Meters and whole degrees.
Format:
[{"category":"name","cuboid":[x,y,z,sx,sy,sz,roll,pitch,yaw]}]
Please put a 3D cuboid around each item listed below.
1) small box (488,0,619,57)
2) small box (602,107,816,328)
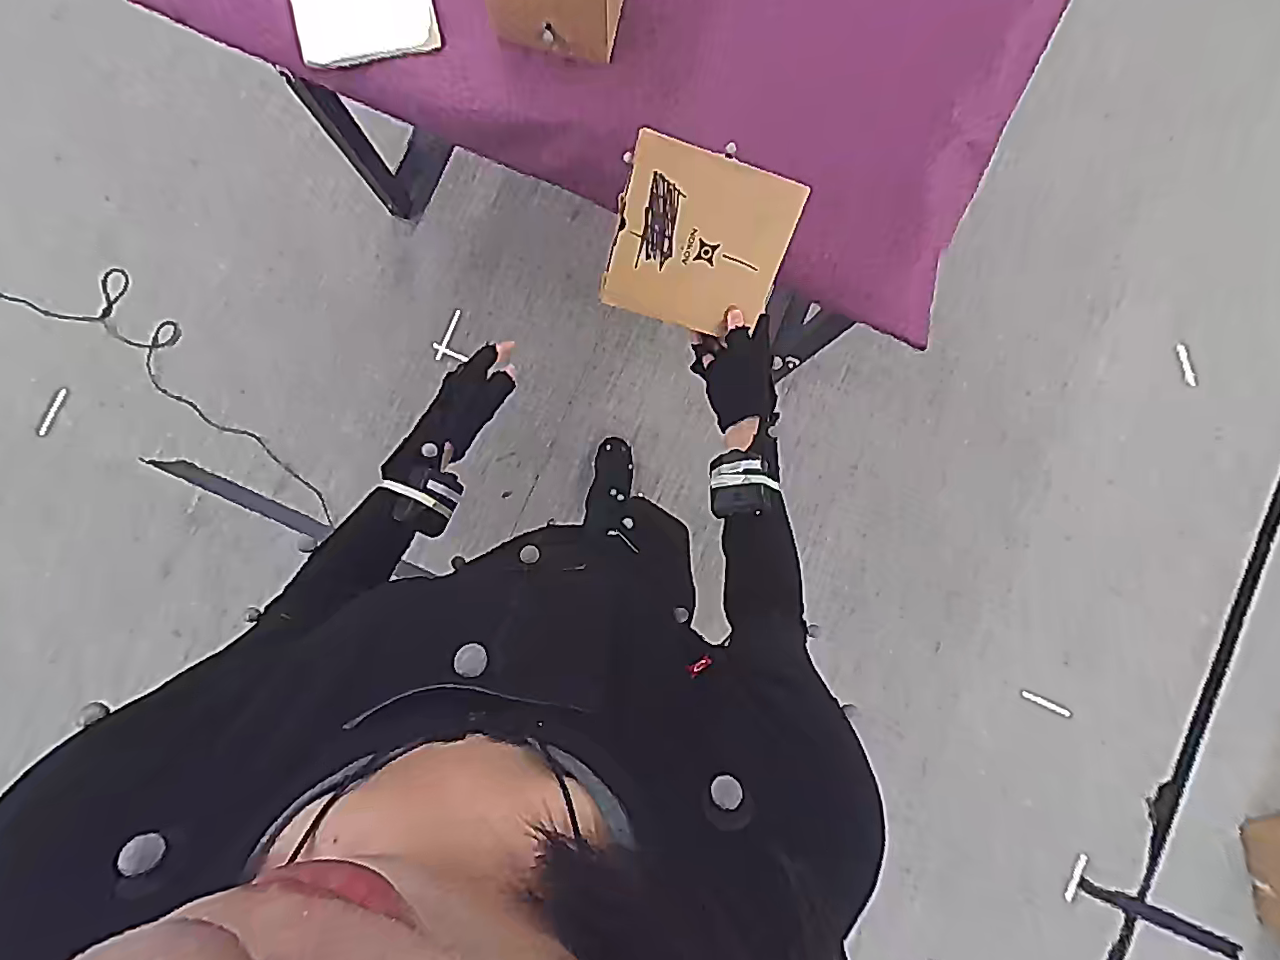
[{"category":"small box","cuboid":[-0.110,-0.727,0.733,0.179,0.176,0.168,12,87,-2]},{"category":"small box","cuboid":[0.066,-0.296,0.615,0.179,0.176,0.168,15,121,-8]}]
